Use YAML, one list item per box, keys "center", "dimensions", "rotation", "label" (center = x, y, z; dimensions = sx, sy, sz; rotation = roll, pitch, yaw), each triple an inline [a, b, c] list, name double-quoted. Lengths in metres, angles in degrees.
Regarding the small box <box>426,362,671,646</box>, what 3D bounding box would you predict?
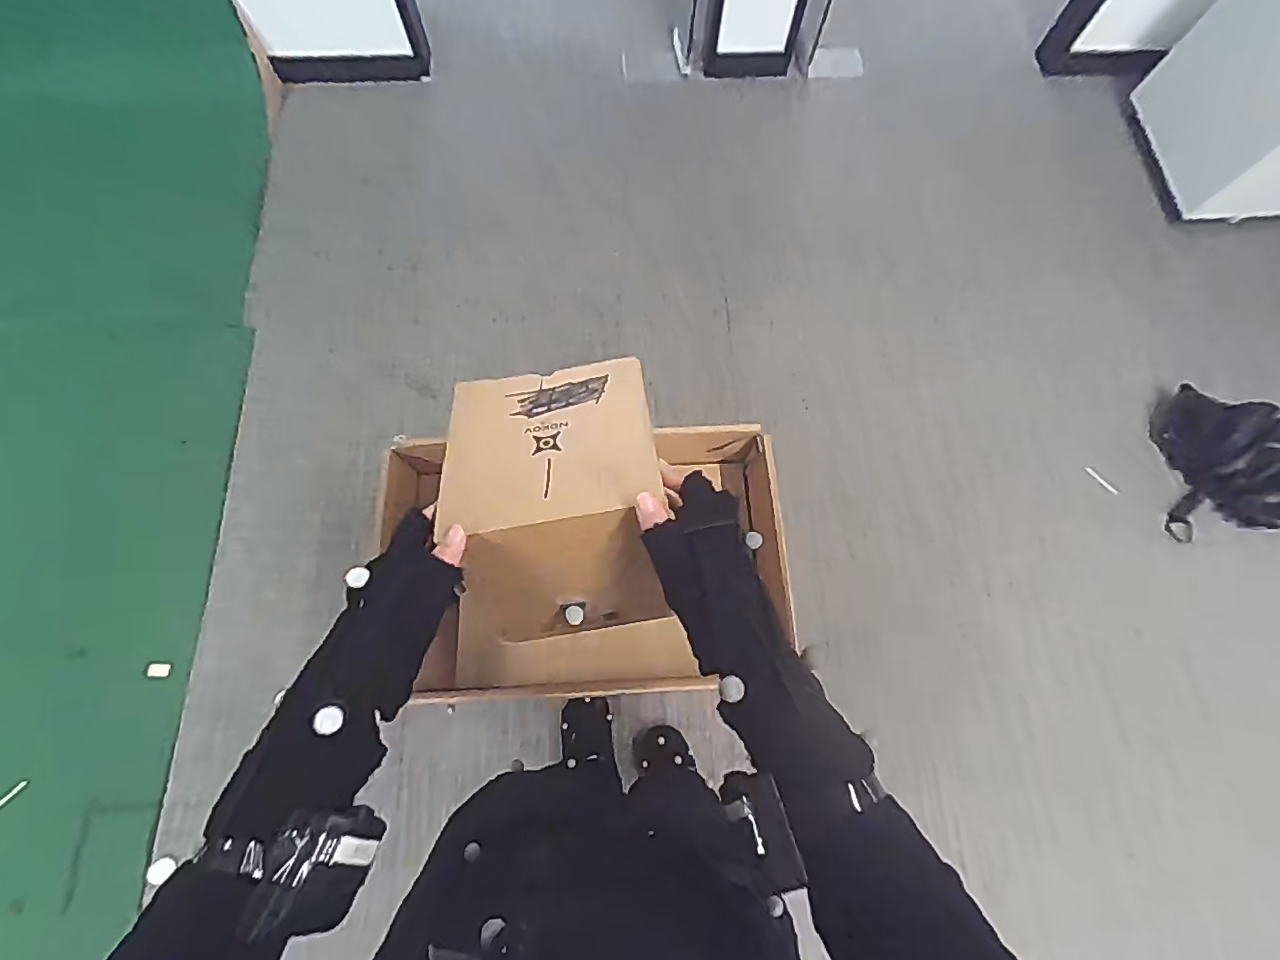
- center: [-0.068, 0.023, 0.485]
  dimensions: [0.168, 0.176, 0.179]
  rotation: [-10, 49, 0]
  label: "small box"
